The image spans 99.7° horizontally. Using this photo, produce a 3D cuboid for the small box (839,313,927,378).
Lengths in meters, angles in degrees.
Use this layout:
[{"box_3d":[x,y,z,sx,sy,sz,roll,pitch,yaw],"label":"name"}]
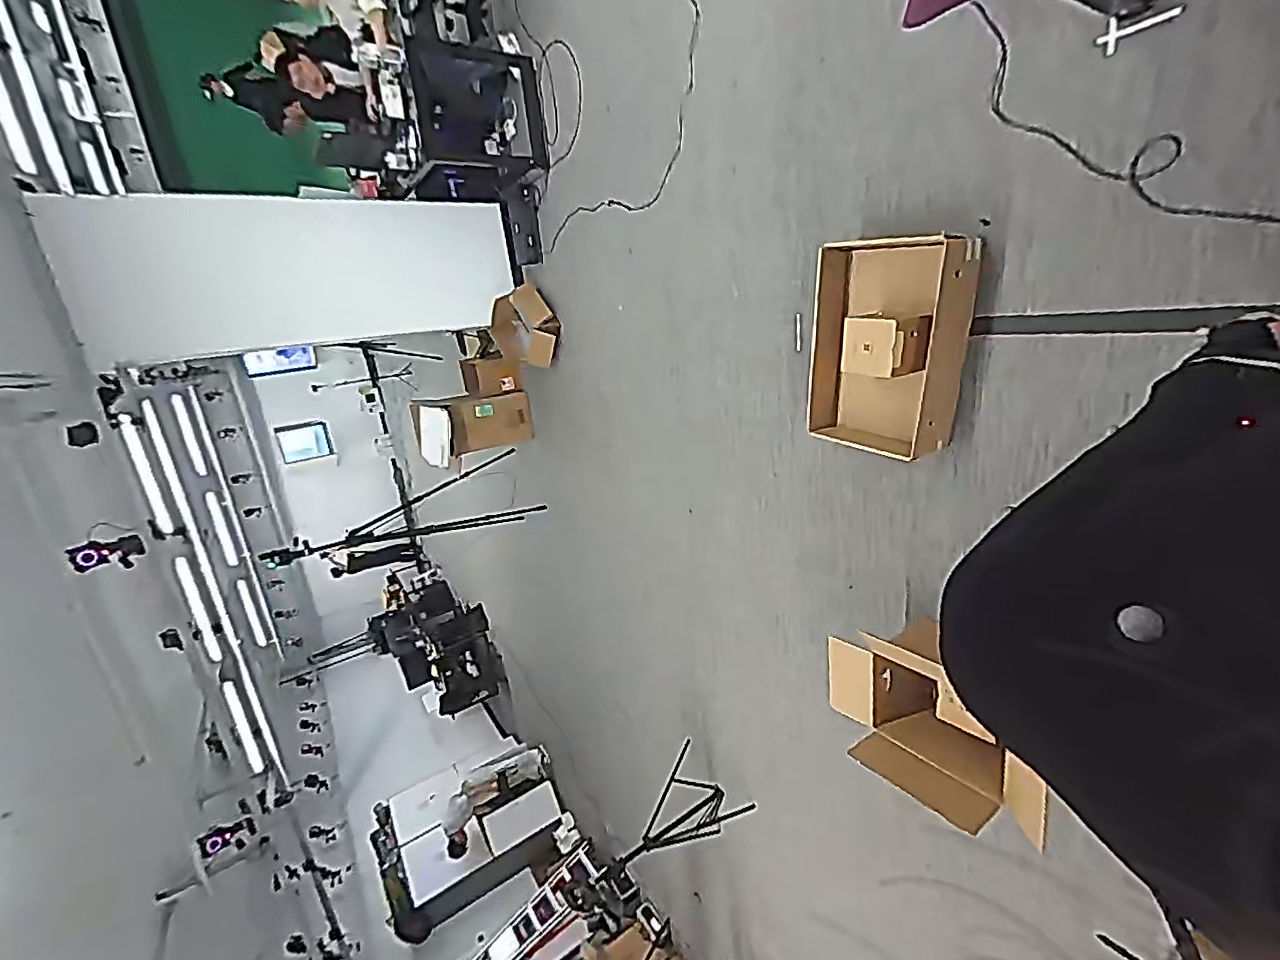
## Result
[{"box_3d":[0.732,-0.411,1.627,0.179,0.176,0.168,27,126,51],"label":"small box"}]
